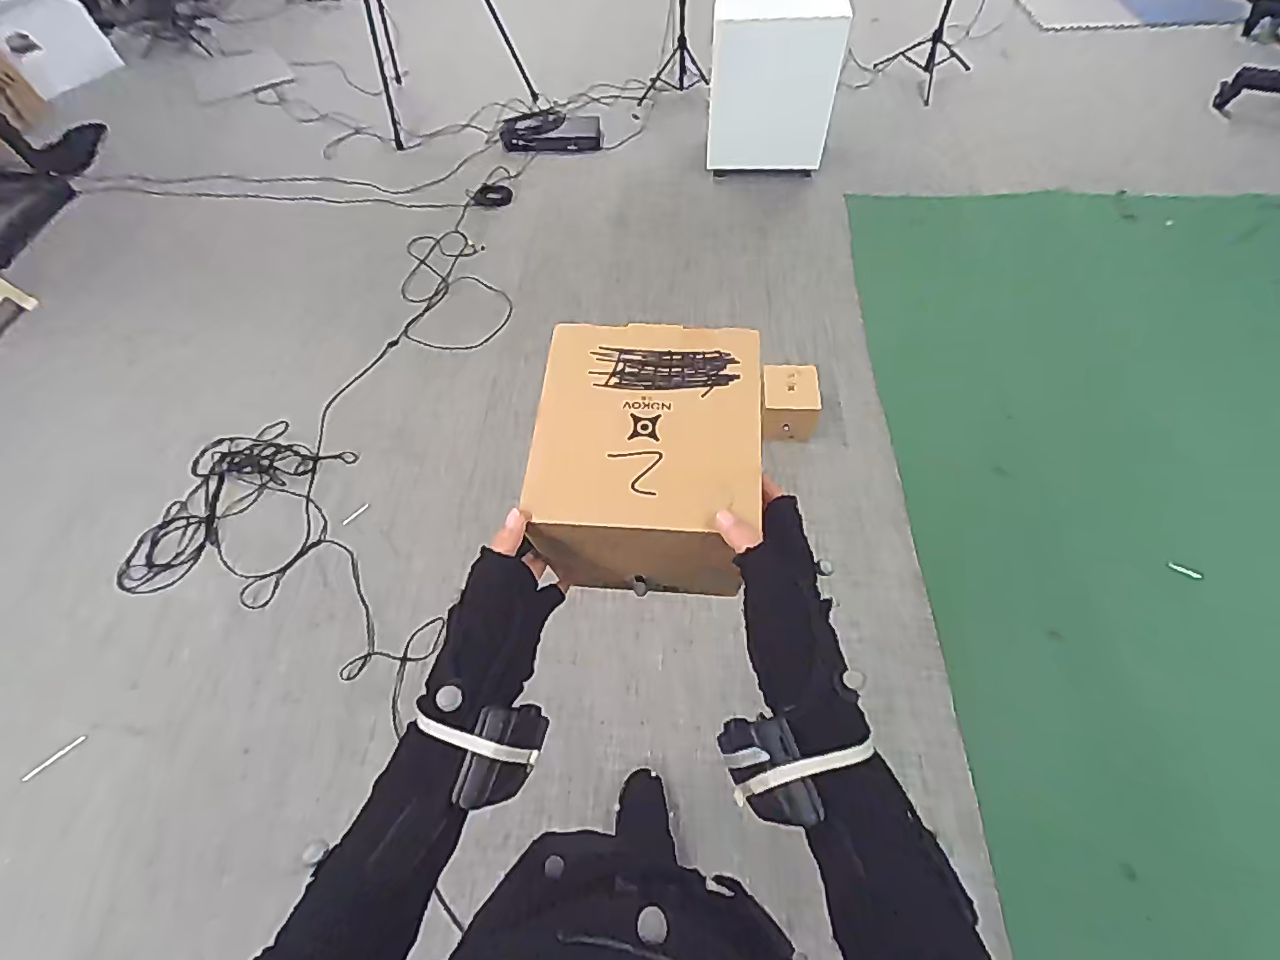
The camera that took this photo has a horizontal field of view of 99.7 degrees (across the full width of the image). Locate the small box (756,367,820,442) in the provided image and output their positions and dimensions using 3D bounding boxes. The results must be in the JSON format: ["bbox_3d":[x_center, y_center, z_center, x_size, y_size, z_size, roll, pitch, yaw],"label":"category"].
[{"bbox_3d":[0.464,-0.235,1.711,0.168,0.176,0.179,2,58,4],"label":"small box"}]
